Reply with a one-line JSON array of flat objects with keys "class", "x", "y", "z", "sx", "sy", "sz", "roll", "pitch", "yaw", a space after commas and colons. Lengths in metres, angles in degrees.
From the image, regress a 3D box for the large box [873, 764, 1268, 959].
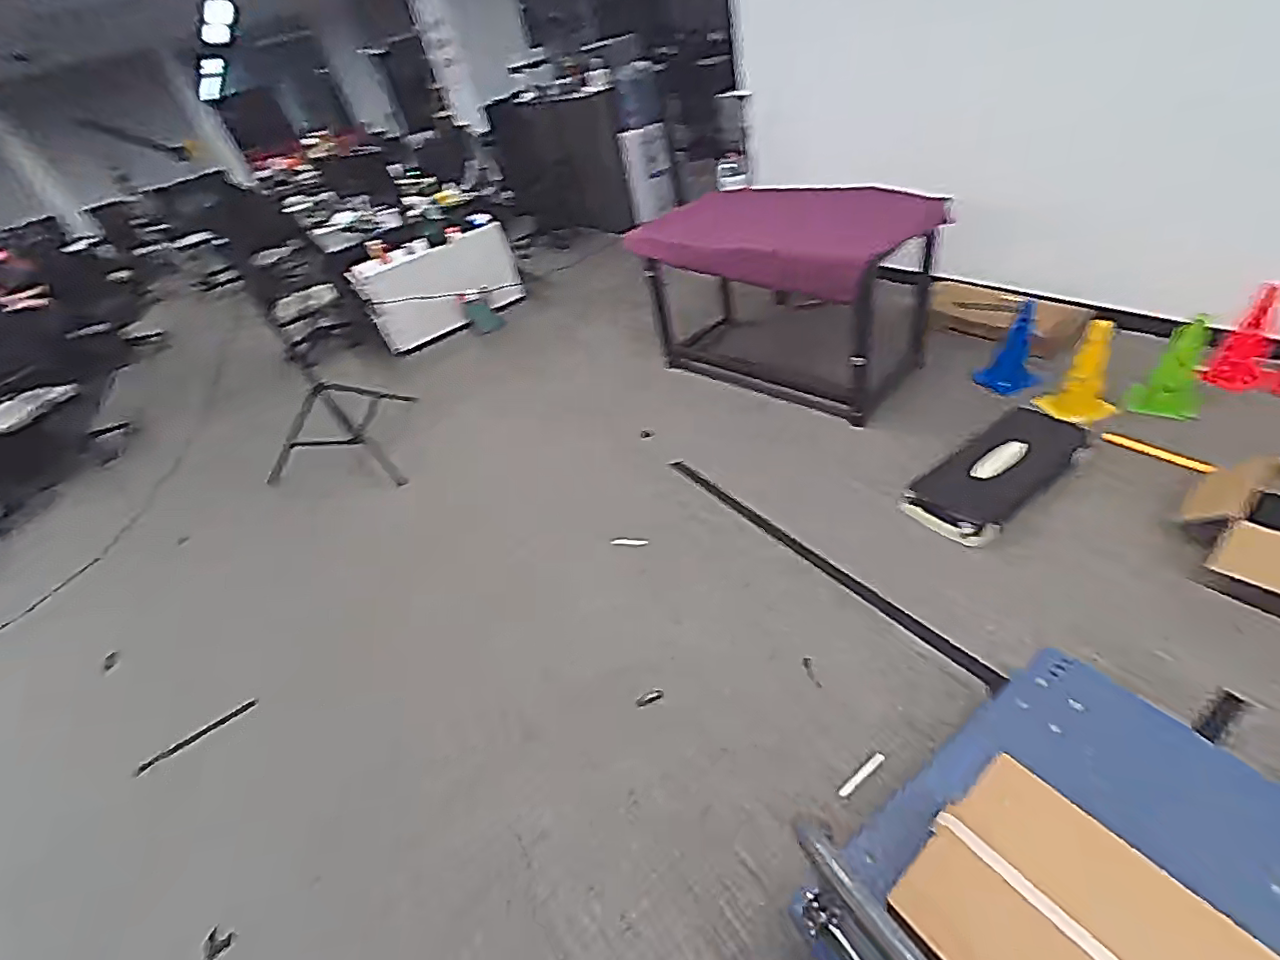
[{"class": "large box", "x": 0.627, "y": 0.738, "z": 0.808, "sx": 0.320, "sy": 0.320, "sz": 0.408, "roll": -34, "pitch": 44, "yaw": -20}]
